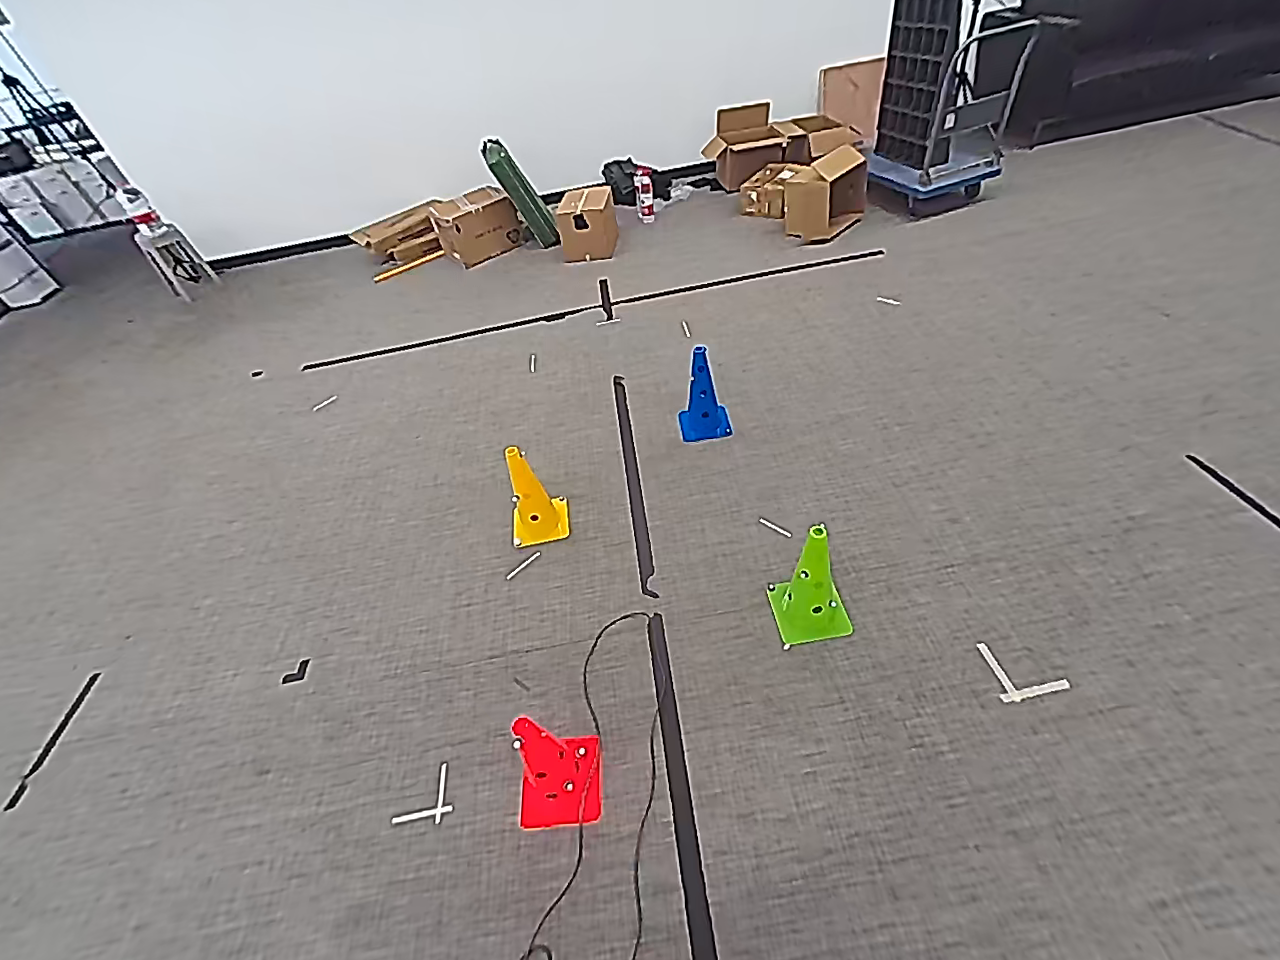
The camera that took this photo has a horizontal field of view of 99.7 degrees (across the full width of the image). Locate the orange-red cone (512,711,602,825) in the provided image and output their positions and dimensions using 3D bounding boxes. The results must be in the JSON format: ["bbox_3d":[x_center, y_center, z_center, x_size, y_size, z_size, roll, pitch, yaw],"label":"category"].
[{"bbox_3d":[-0.222,0.619,1.228,0.199,0.360,0.198,-8,43,5],"label":"orange-red cone"}]

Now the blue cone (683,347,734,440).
[{"bbox_3d":[0.259,-0.348,2.118,0.192,0.380,0.193,-7,45,3],"label":"blue cone"}]

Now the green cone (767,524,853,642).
[{"bbox_3d":[0.469,0.252,1.453,0.202,0.368,0.200,-9,44,0],"label":"green cone"}]
